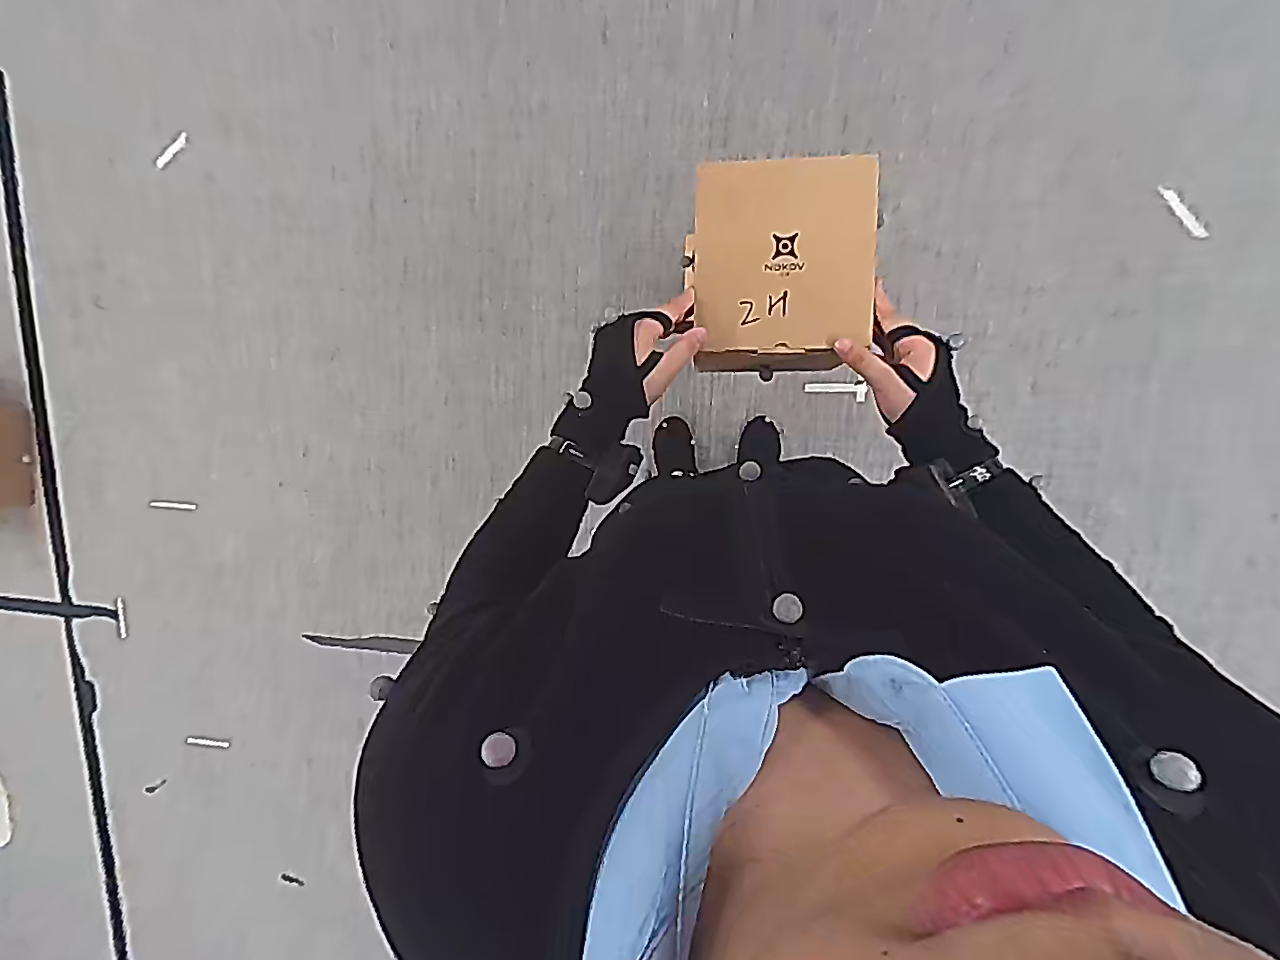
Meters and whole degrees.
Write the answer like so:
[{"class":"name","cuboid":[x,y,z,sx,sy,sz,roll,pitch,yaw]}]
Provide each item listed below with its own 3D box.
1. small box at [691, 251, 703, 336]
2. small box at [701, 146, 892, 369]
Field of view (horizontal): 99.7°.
[{"class":"small box","cuboid":[0.212,-0.454,1.334,0.168,0.176,0.179,2,100,5]},{"class":"small box","cuboid":[0.149,-0.217,0.571,0.168,0.176,0.179,1,95,7]}]
